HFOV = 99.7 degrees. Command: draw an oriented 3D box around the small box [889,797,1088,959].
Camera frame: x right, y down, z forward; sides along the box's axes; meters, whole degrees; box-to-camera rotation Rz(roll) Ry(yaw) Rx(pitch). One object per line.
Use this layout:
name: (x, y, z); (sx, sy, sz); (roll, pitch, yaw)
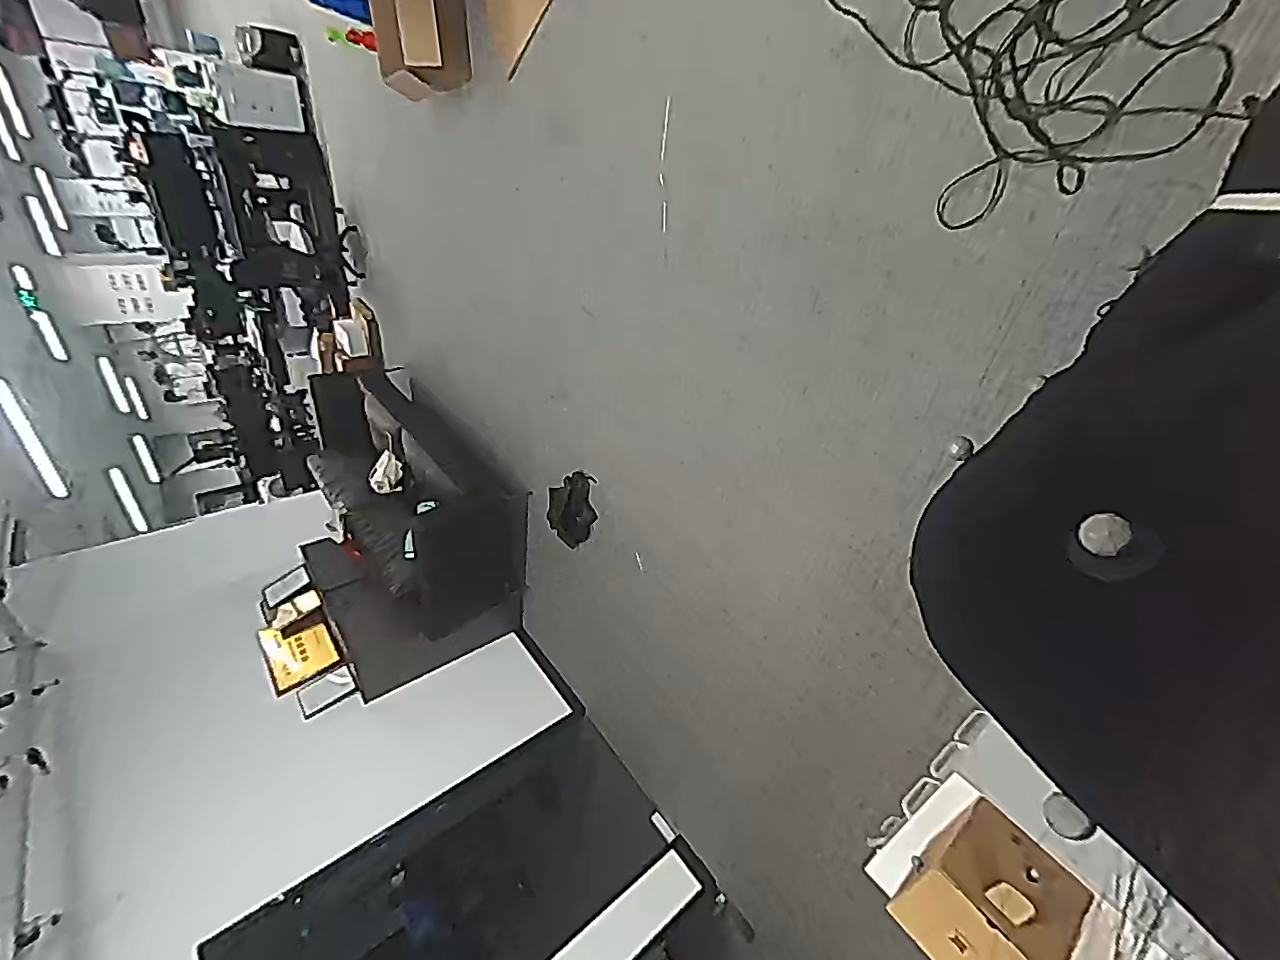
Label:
small box: (0.520, 0.628, 0.812); (0.168, 0.176, 0.179); (41, 135, 35)
